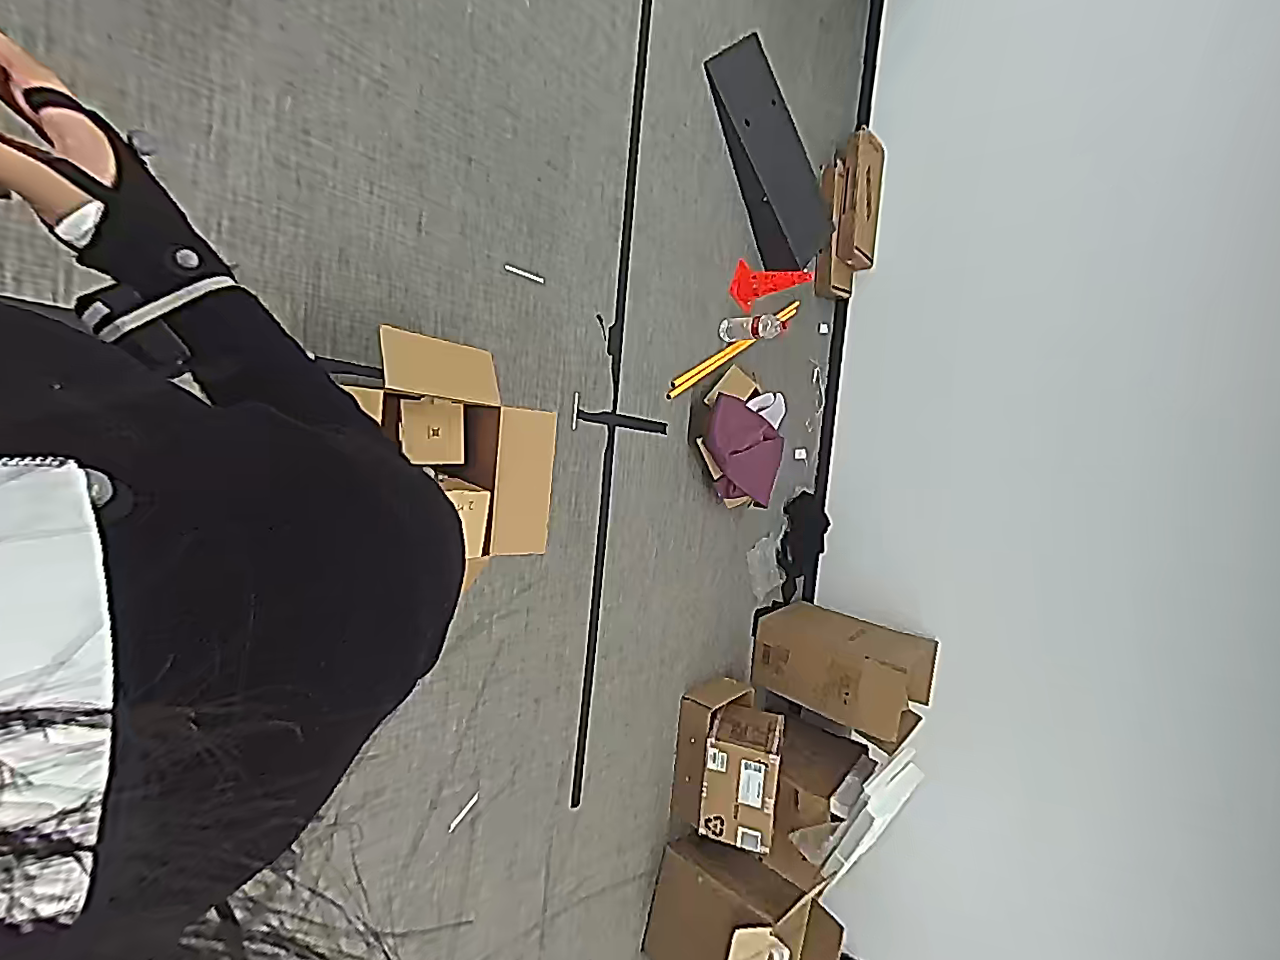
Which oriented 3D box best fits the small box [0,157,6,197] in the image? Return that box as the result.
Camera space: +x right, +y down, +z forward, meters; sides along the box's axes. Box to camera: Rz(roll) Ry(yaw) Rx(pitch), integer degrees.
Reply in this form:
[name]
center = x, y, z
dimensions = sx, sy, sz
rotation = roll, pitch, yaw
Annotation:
[small box]
center = -0.515, -0.285, 0.311
dimensions = 0.168, 0.176, 0.179
rotation = -13, 107, -43
